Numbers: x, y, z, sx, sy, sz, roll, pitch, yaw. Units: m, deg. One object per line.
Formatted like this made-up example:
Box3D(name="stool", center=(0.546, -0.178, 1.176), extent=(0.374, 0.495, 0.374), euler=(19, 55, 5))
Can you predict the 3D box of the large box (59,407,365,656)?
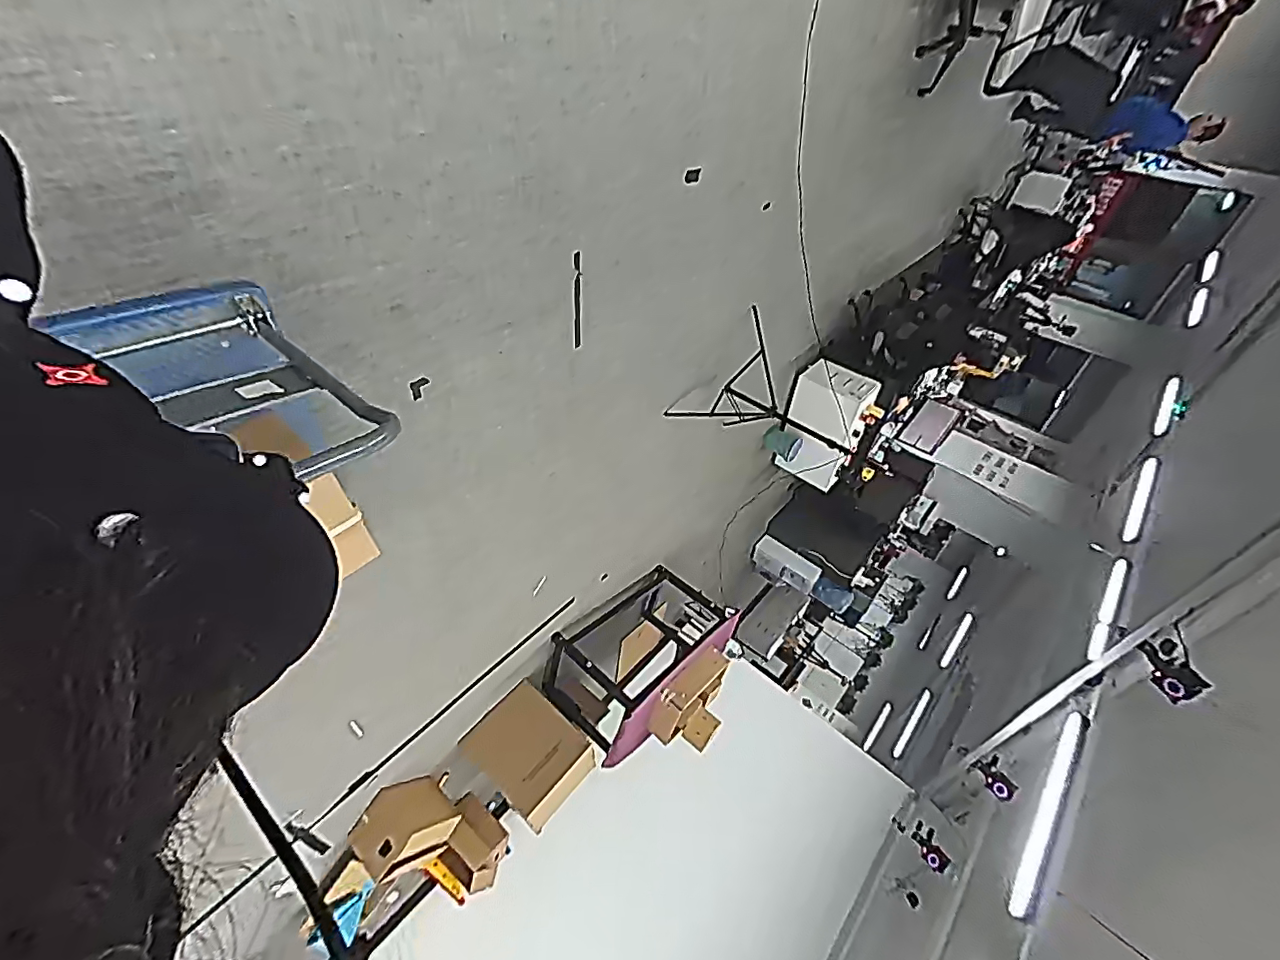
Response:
Box3D(name="large box", center=(-0.937, 0.101, 1.232), extent=(0.408, 0.320, 0.320), euler=(-38, 147, -31))
